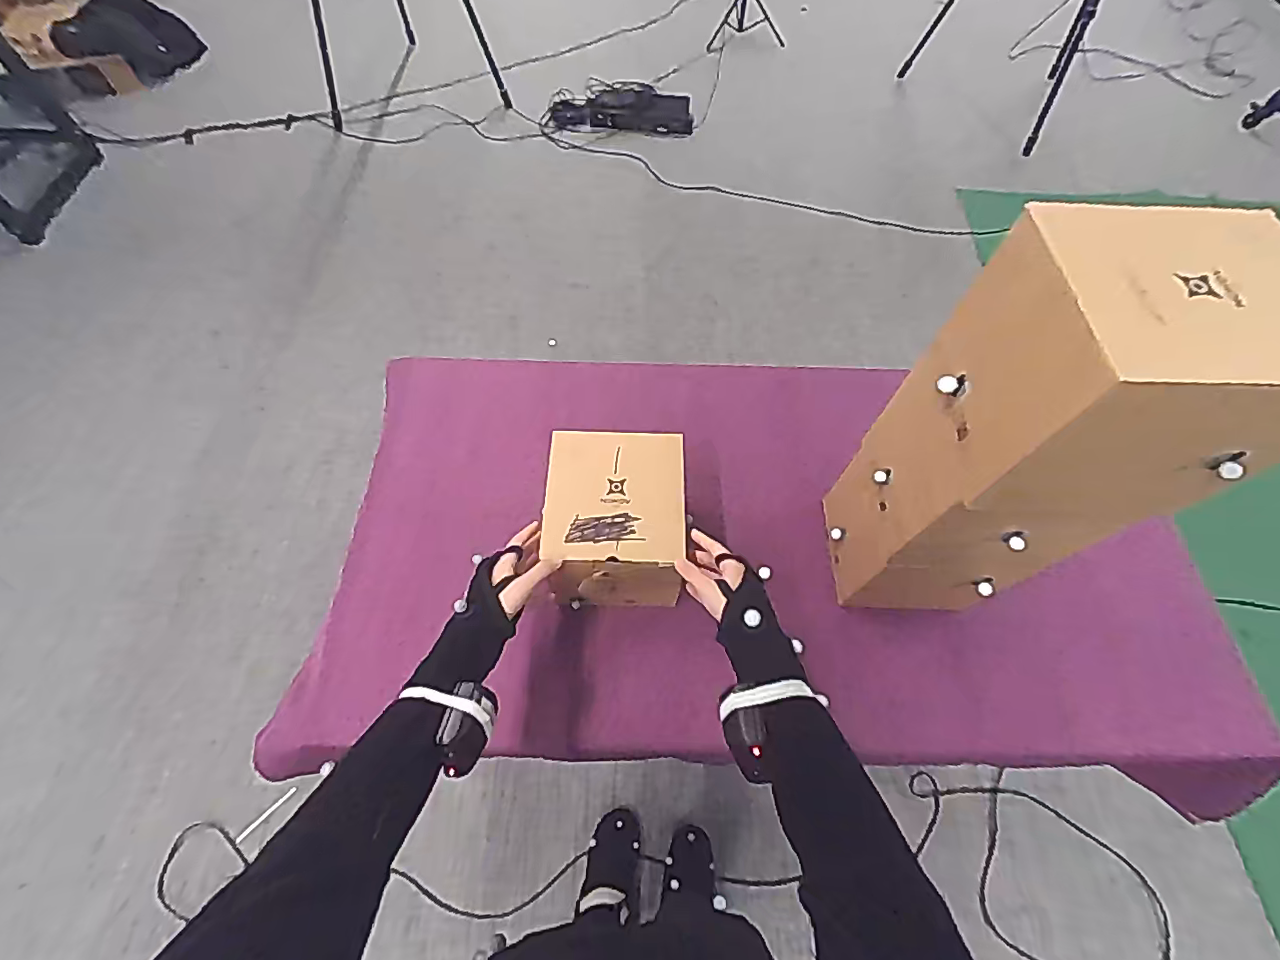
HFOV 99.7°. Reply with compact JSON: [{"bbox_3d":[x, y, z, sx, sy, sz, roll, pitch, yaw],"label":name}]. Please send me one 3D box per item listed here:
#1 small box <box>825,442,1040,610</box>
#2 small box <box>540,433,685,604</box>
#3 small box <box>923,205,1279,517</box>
[{"bbox_3d":[0.363,0.068,0.710,0.179,0.176,0.168,3,61,0],"label":"small box"},{"bbox_3d":[-0.030,0.057,0.708,0.168,0.176,0.179,2,60,-1],"label":"small box"},{"bbox_3d":[0.356,-0.080,0.417,0.179,0.176,0.168,2,60,0],"label":"small box"}]
